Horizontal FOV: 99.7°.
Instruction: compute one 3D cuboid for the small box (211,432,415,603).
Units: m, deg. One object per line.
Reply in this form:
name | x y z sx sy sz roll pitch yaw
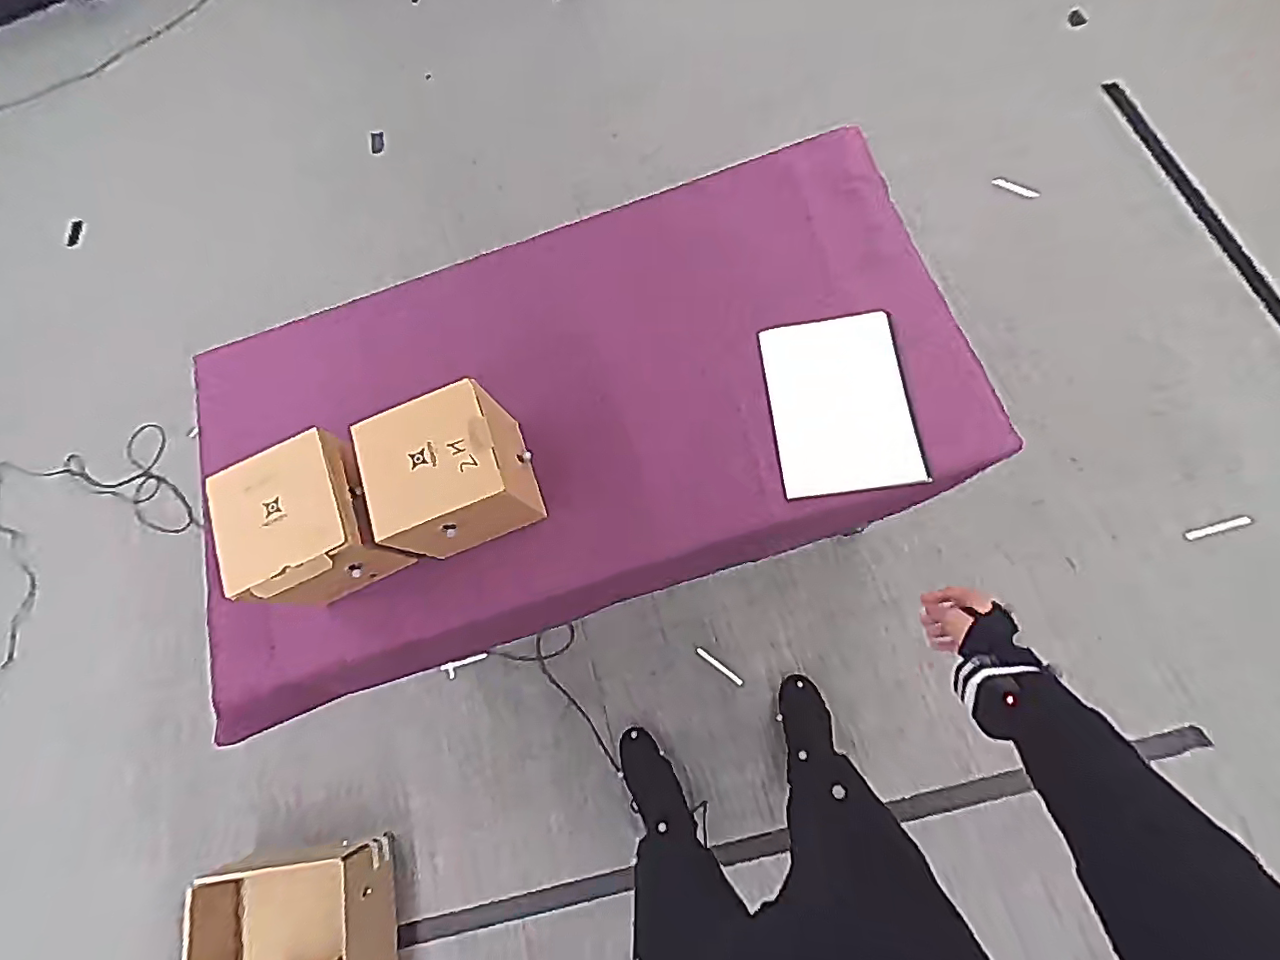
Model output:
small box | -0.450 0.063 0.767 0.168 0.176 0.179 -25 72 0
